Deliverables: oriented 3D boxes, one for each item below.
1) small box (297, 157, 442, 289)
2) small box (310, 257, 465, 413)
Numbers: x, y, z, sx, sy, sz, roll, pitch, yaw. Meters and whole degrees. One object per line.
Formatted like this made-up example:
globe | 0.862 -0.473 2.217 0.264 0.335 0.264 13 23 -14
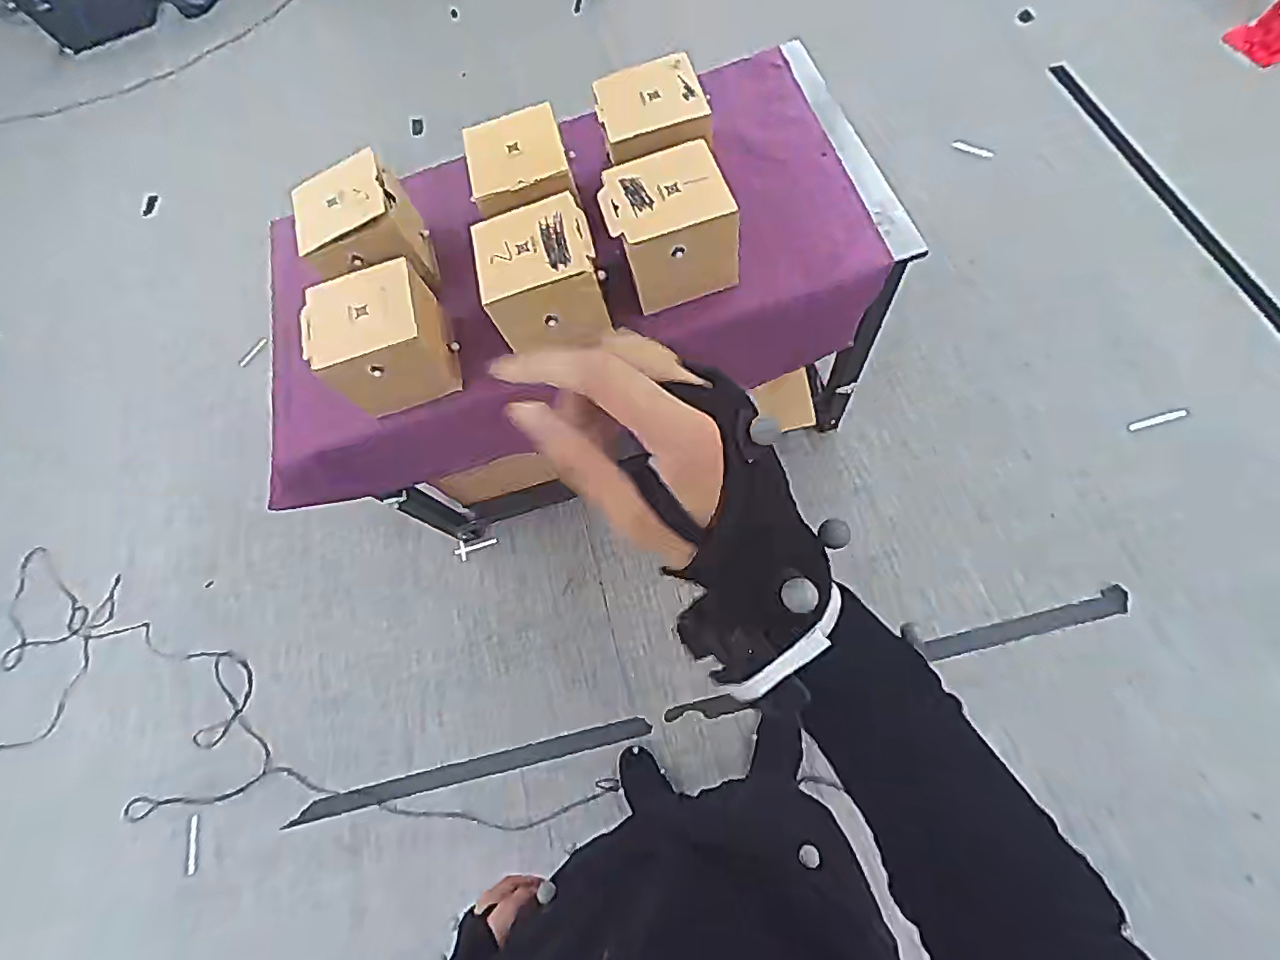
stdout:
small box | -0.498 -0.448 1.008 0.179 0.176 0.168 -19 69 2
small box | -0.423 -0.236 0.921 0.179 0.176 0.168 -17 69 2
